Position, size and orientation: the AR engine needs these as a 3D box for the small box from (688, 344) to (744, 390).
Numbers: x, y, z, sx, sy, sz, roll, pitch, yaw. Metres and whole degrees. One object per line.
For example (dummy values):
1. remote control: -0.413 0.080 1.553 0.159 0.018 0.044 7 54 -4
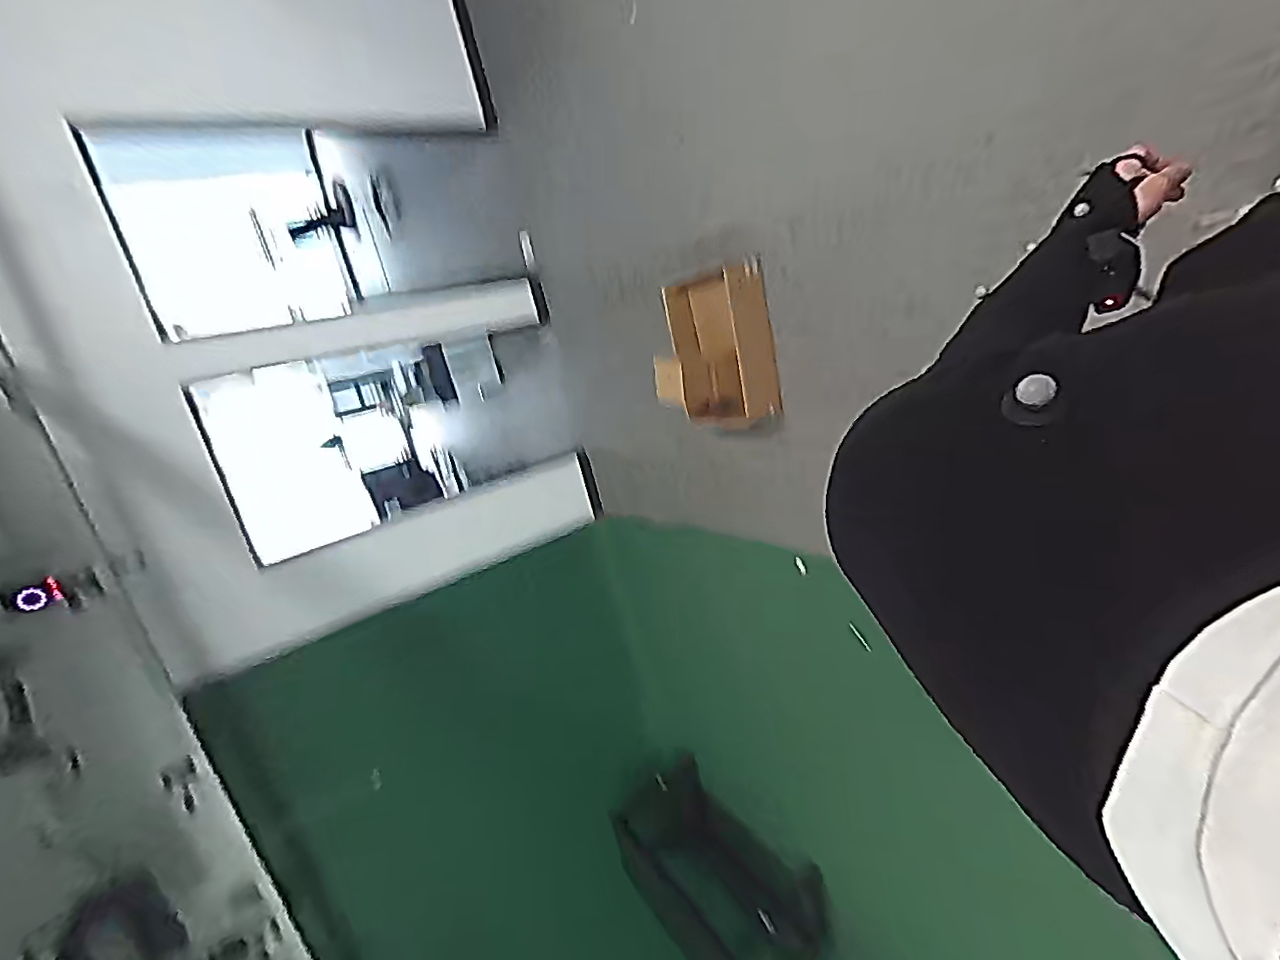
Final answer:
1. small box: 0.315 -0.475 2.268 0.179 0.176 0.168 16 118 53

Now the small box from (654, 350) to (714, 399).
1. small box: 0.179 -0.432 2.189 0.179 0.176 0.168 22 124 52
